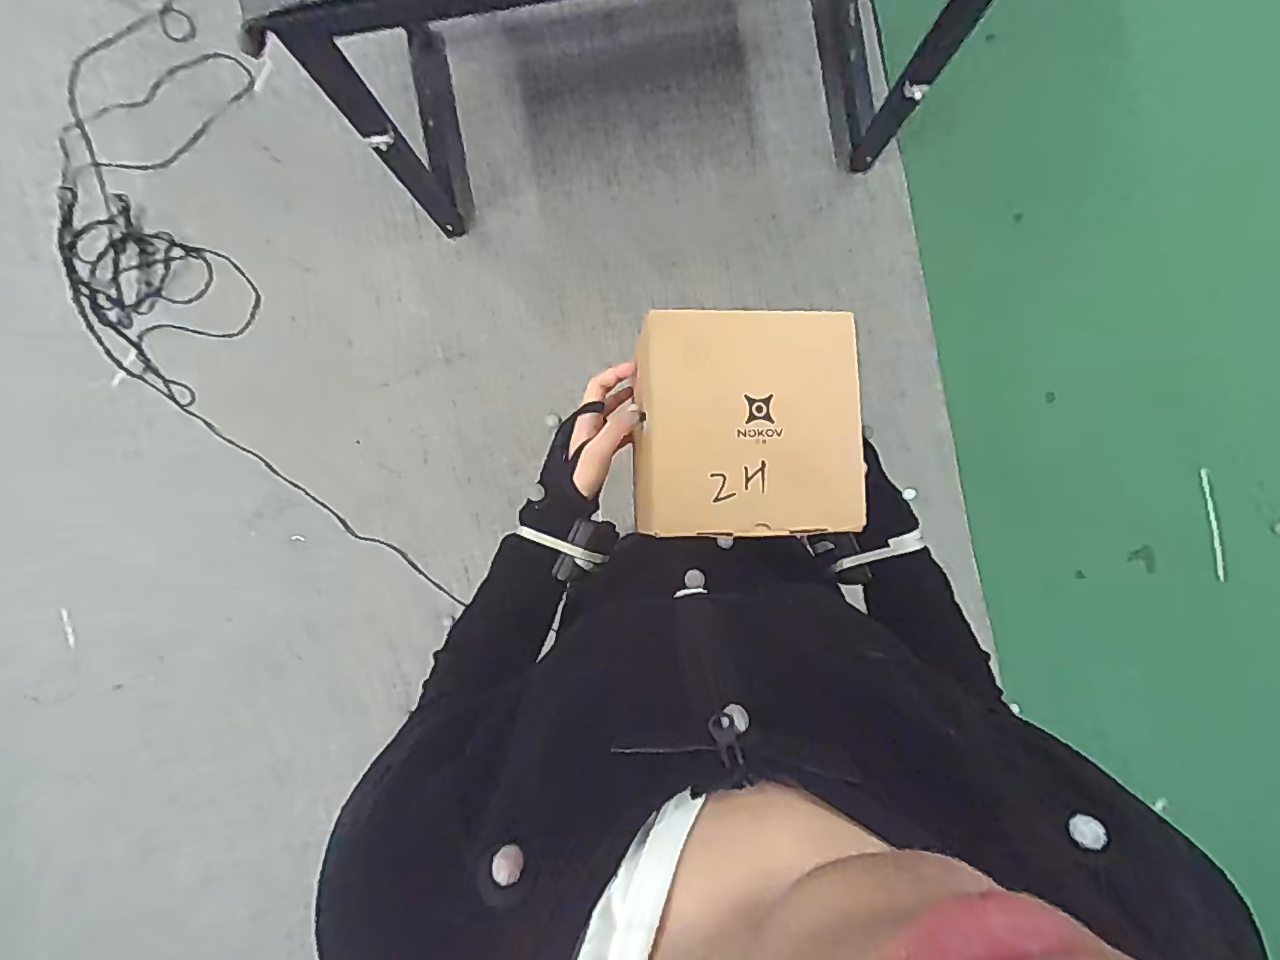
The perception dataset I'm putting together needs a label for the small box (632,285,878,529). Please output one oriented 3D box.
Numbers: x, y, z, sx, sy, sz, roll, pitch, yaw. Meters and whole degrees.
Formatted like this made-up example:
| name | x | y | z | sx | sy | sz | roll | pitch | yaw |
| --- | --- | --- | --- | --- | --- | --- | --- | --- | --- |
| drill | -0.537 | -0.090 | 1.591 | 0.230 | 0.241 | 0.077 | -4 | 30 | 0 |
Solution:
| name | x | y | z | sx | sy | sz | roll | pitch | yaw |
| --- | --- | --- | --- | --- | --- | --- | --- | --- | --- |
| small box | 0.082 | -0.049 | 0.473 | 0.168 | 0.176 | 0.179 | -1 | 84 | -5 |
